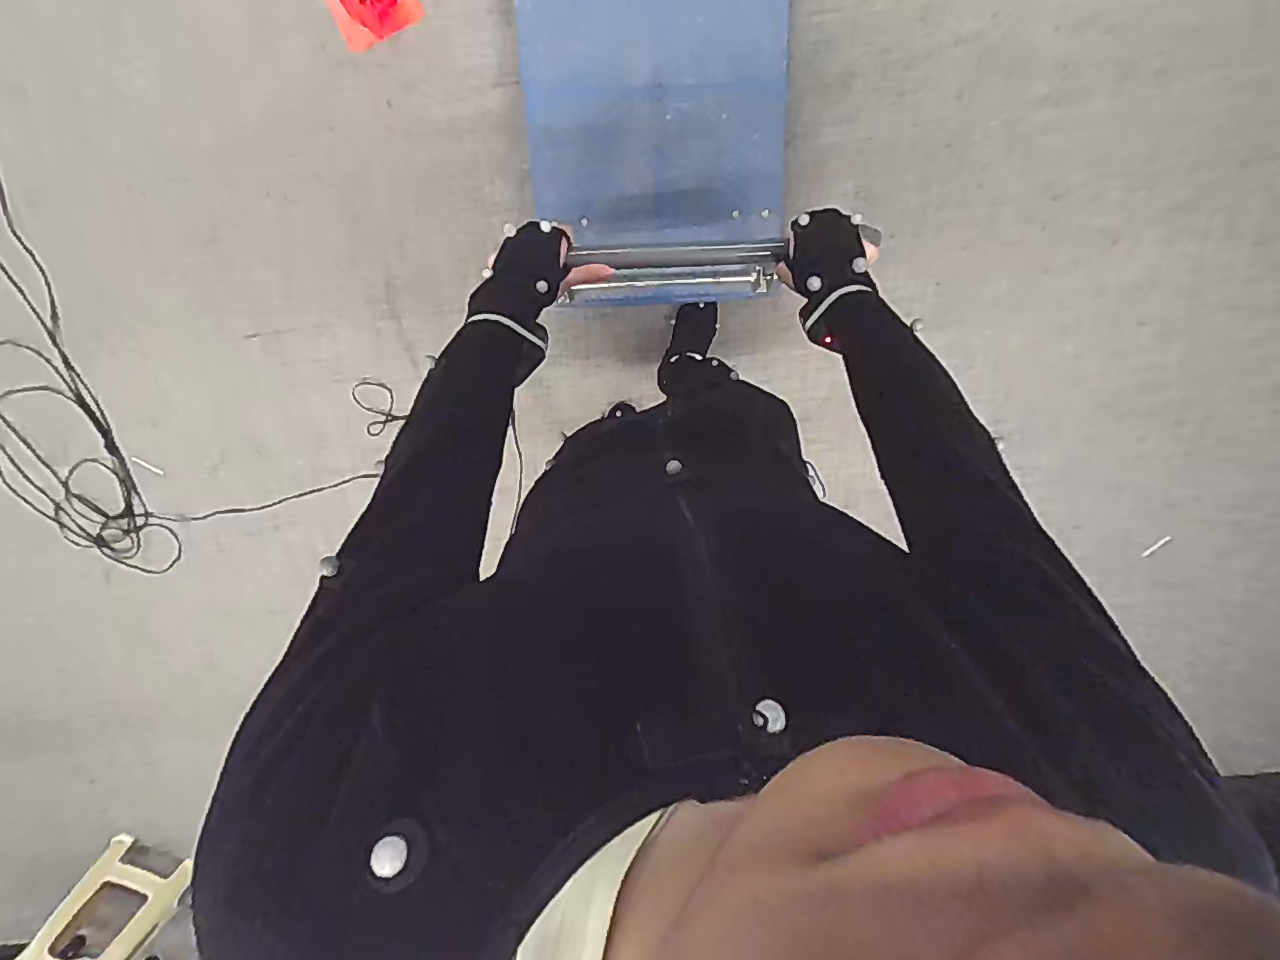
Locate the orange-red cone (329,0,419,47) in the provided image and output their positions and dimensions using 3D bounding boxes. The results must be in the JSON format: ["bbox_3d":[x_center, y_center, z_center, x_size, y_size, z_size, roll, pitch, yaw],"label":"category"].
[{"bbox_3d":[-0.635,-1.084,1.087,0.199,0.360,0.198,-19,107,8],"label":"orange-red cone"}]
